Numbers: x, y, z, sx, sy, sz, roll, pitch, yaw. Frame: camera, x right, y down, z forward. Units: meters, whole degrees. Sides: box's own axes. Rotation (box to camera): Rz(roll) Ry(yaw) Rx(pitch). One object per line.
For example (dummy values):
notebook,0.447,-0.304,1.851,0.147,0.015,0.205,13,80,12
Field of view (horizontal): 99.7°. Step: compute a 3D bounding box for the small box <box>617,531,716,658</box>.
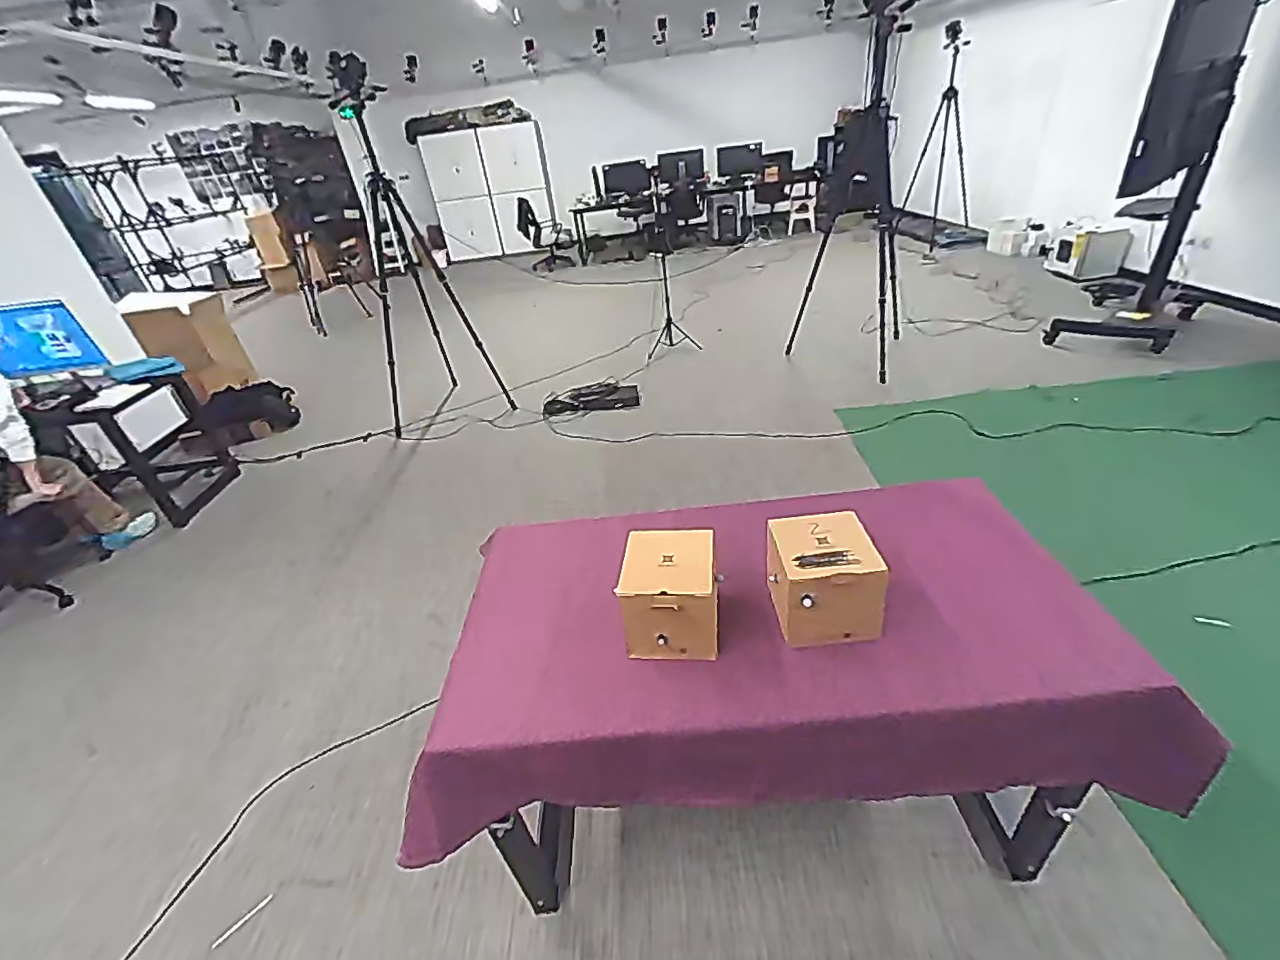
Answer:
small box,0.059,0.217,1.041,0.168,0.176,0.179,-2,34,10
